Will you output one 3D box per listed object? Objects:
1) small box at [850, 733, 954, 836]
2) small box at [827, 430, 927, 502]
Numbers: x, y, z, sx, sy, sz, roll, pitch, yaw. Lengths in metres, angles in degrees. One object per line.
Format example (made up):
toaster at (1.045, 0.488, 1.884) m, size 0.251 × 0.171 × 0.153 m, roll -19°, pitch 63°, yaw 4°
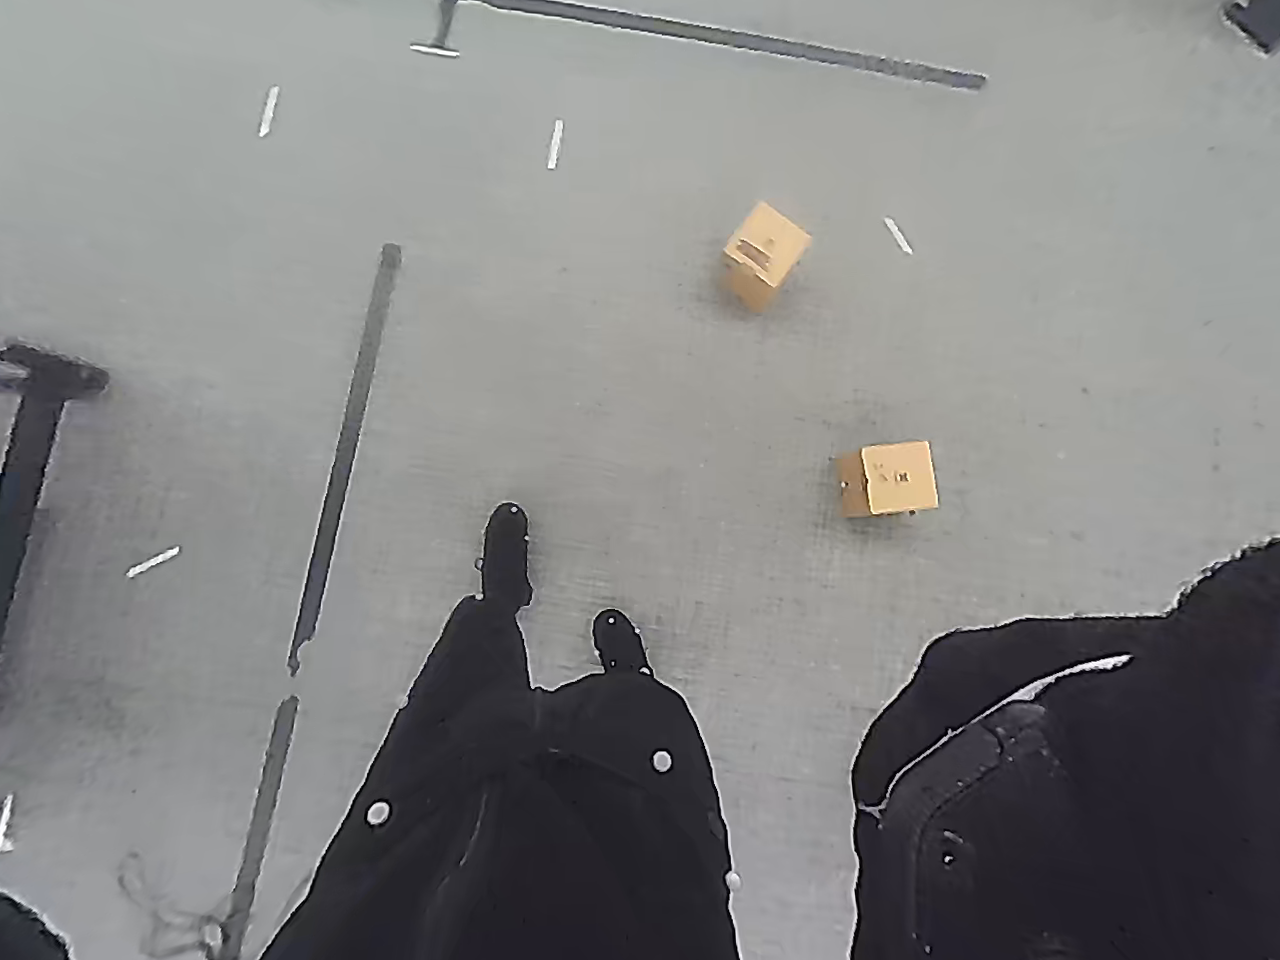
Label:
small box at (0.646, 0.751, 1.351) m, size 0.179 × 0.176 × 0.168 m, roll 8°, pitch 85°, yaw -3°
small box at (0.611, -0.032, 1.409) m, size 0.179 × 0.176 × 0.168 m, roll -5°, pitch 86°, yaw -3°
